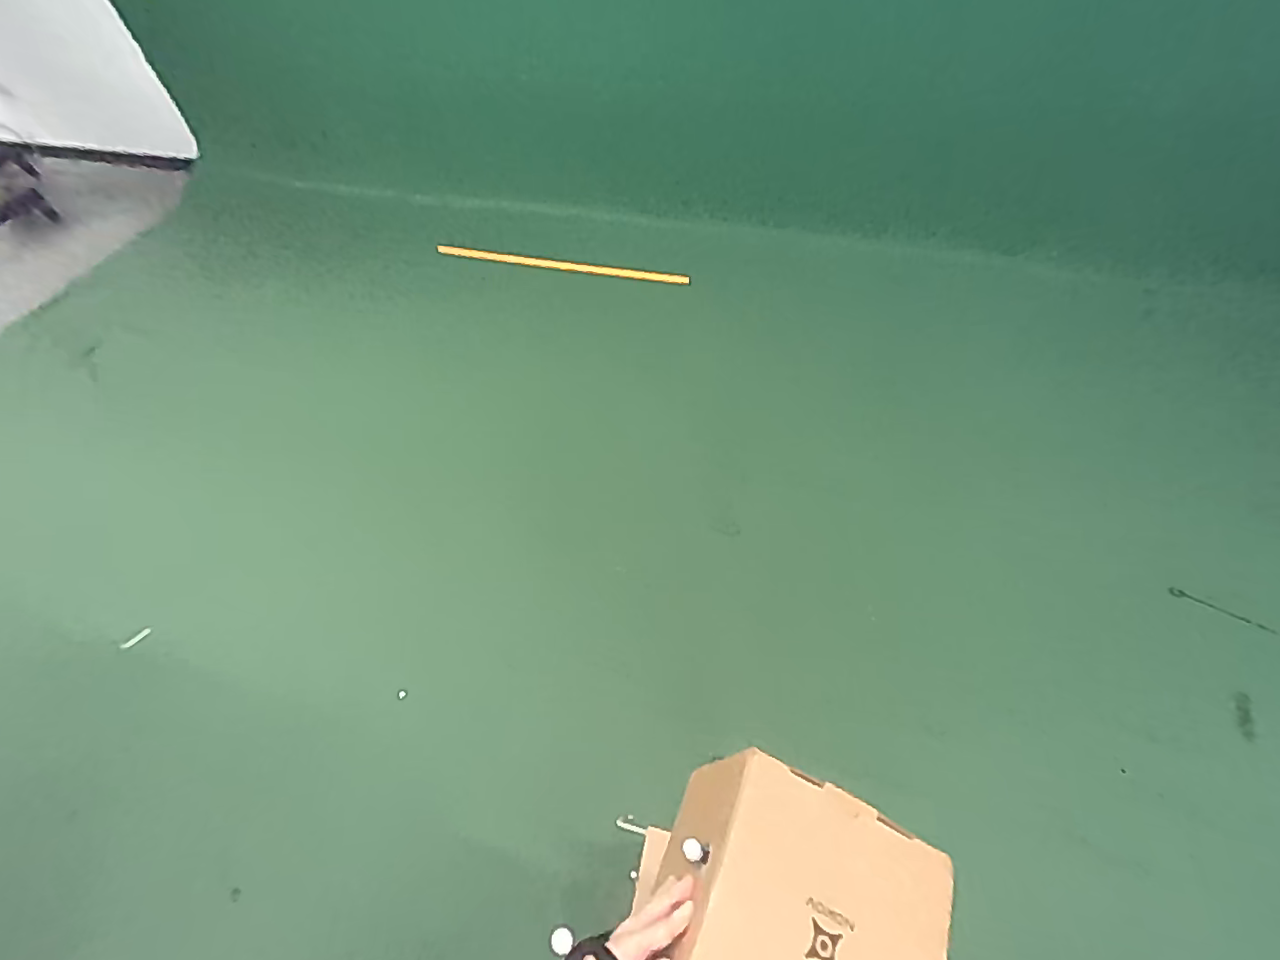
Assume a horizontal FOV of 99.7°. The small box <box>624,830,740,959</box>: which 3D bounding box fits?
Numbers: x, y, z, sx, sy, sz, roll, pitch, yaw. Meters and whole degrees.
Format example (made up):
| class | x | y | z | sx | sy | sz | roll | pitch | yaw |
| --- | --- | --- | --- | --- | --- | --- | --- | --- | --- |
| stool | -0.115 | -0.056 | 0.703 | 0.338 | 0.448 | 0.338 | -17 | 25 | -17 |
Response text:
| class | x | y | z | sx | sy | sz | roll | pitch | yaw |
| --- | --- | --- | --- | --- | --- | --- | --- | --- | --- |
| small box | 0.076 | 0.745 | 0.952 | 0.168 | 0.176 | 0.179 | 9 | 55 | 11 |
